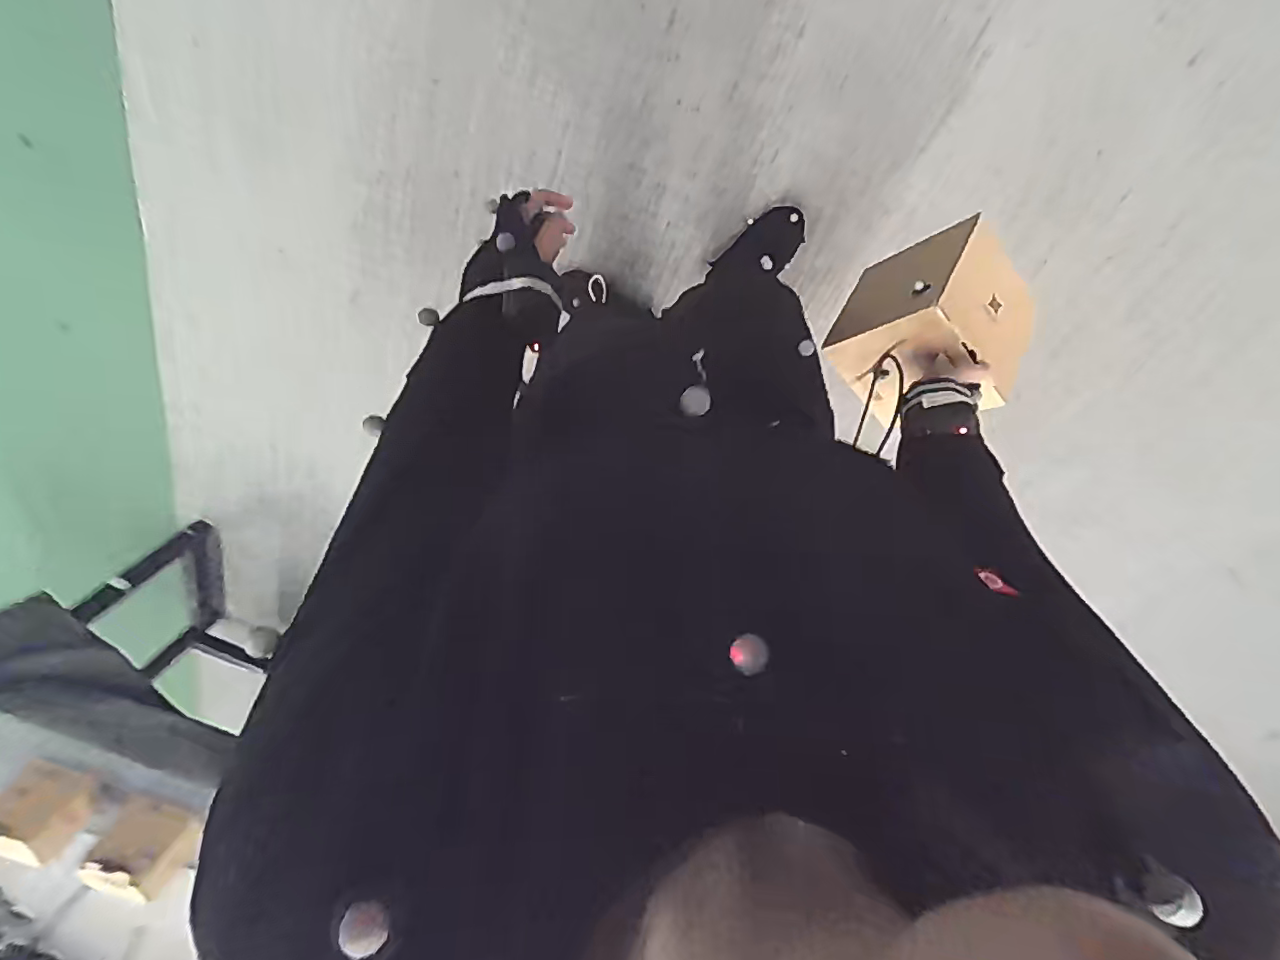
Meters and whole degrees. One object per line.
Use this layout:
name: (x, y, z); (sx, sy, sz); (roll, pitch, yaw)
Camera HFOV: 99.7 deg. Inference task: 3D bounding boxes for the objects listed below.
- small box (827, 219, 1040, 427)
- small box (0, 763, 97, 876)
small box: (0.379, -0.193, 0.711); (0.168, 0.179, 0.176); (42, 158, -20)
small box: (-1.544, 0.853, 1.366); (0.168, 0.176, 0.179); (24, 124, -3)
